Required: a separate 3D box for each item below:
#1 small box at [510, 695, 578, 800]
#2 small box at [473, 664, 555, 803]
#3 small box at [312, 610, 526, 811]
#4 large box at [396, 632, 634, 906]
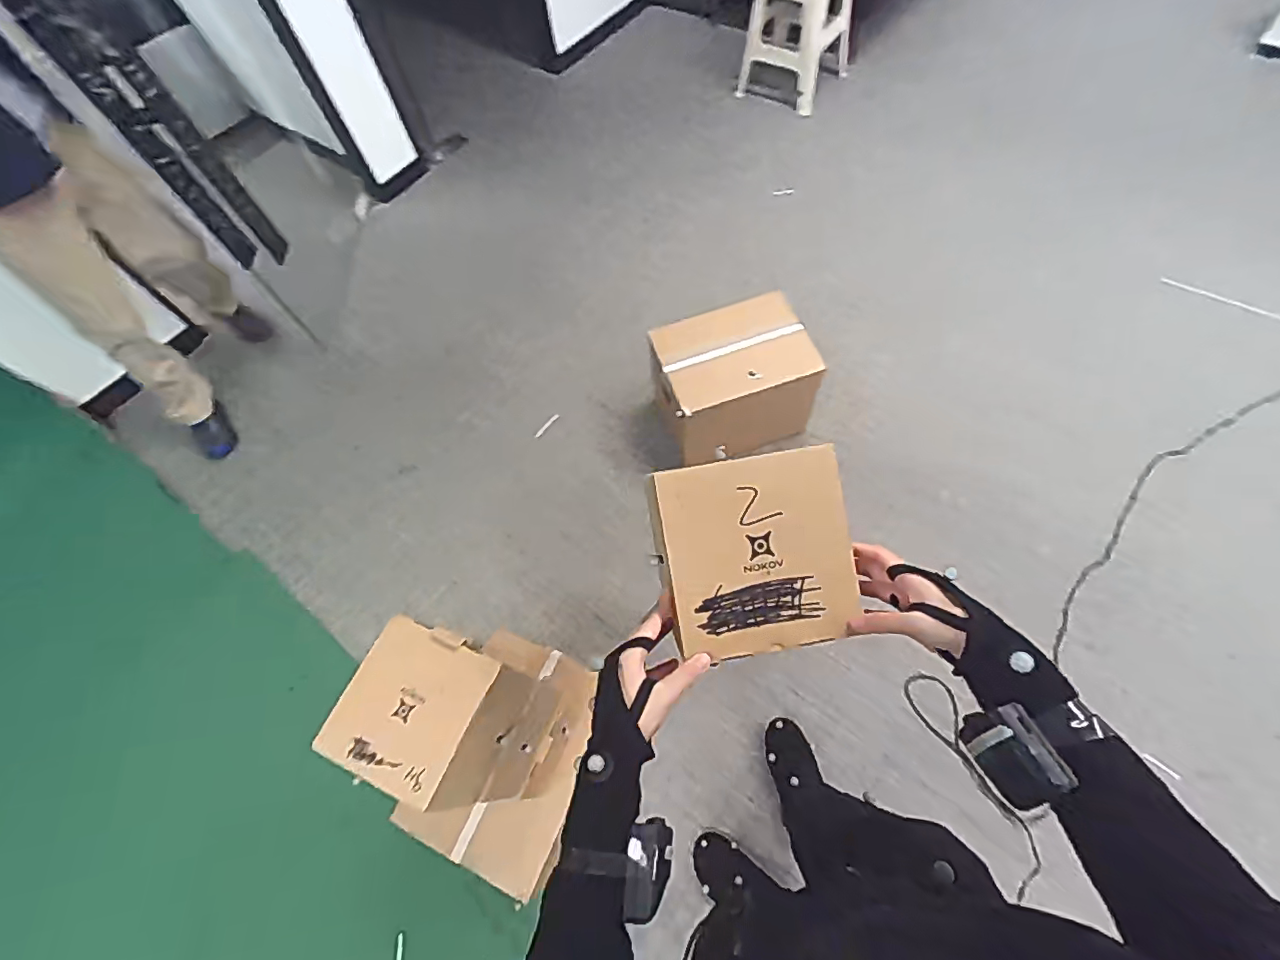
[{"bbox_3d":[-0.233,0.460,0.996,0.179,0.176,0.168,20,65,16],"label":"small box"},{"bbox_3d":[-0.249,0.379,0.855,0.168,0.176,0.179,19,66,15],"label":"small box"},{"bbox_3d":[-0.268,0.302,0.711,0.168,0.176,0.179,19,64,16],"label":"small box"},{"bbox_3d":[-0.238,0.605,1.197,0.320,0.320,0.408,19,67,17],"label":"large box"}]
